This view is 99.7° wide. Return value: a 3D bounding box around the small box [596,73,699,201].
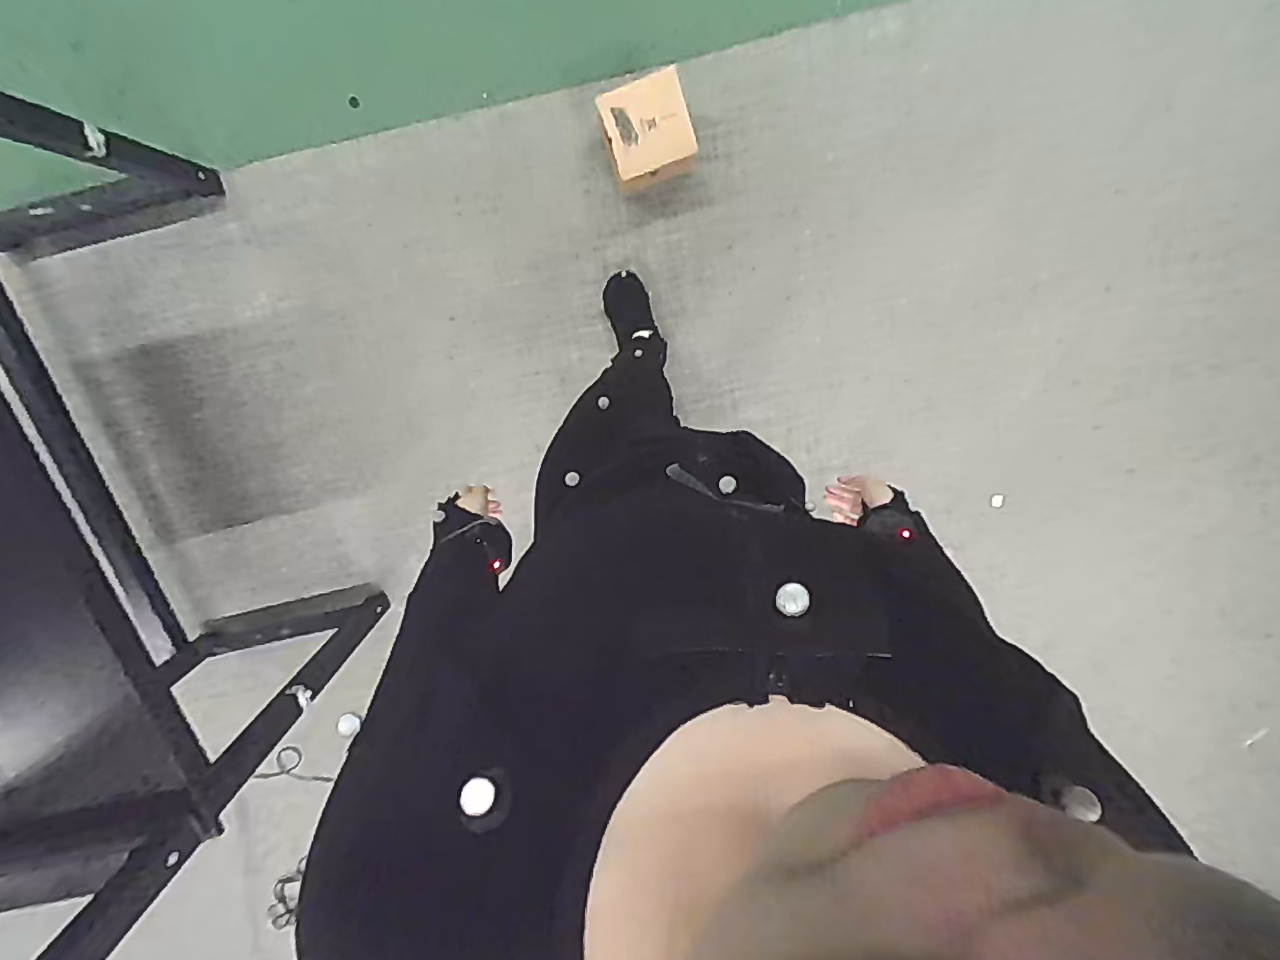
[{"bbox_3d":[0.016,-0.740,1.187,0.179,0.176,0.168,-19,106,3],"label":"small box"}]
